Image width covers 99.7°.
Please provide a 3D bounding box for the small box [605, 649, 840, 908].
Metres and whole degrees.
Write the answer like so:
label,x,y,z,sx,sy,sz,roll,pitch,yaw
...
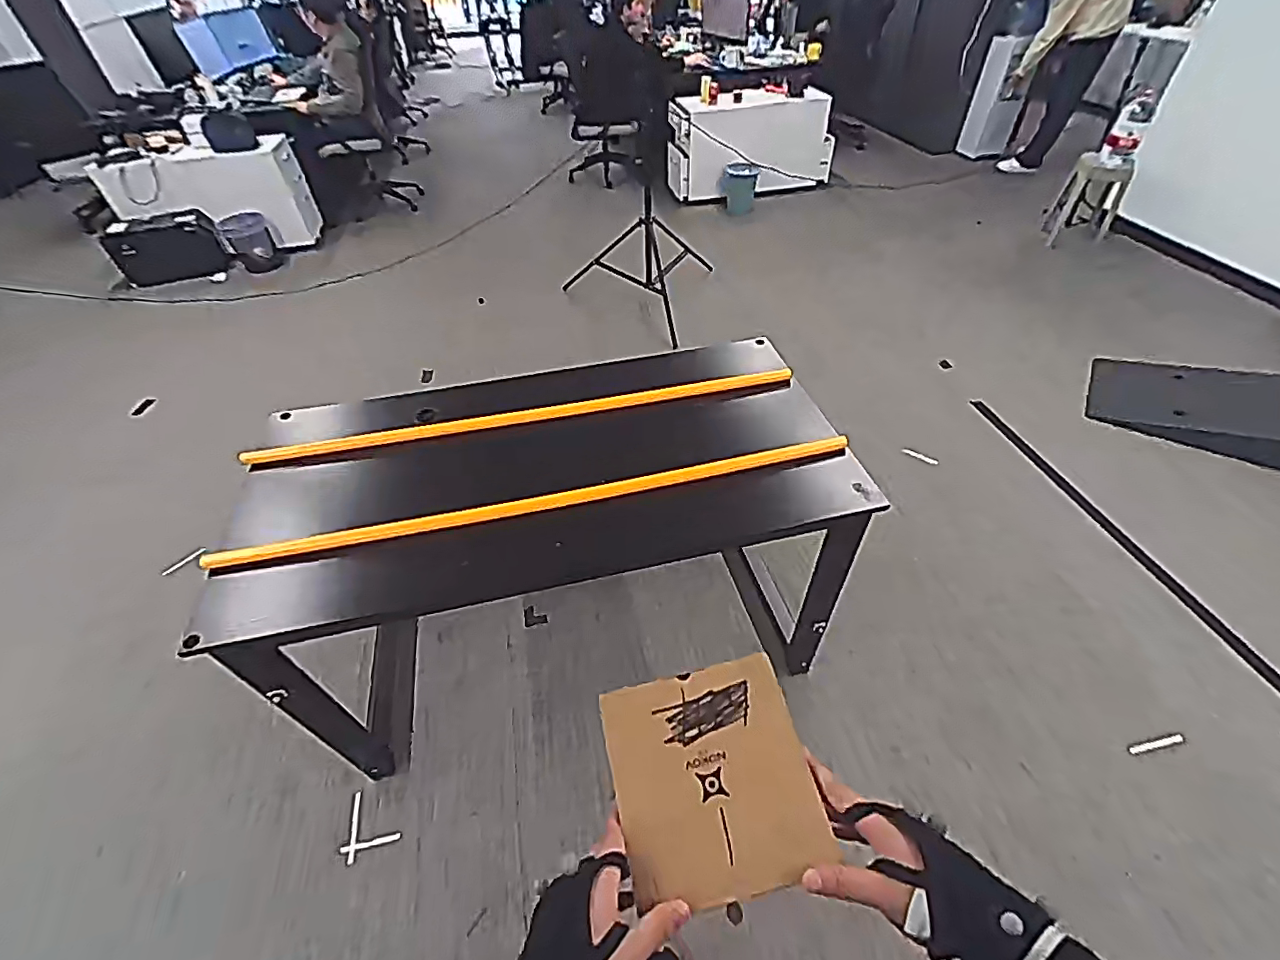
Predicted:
label,x,y,z,sx,sy,sz,roll,pitch,yaw
small box,0.068,0.294,0.532,0.168,0.176,0.179,-13,53,-3
